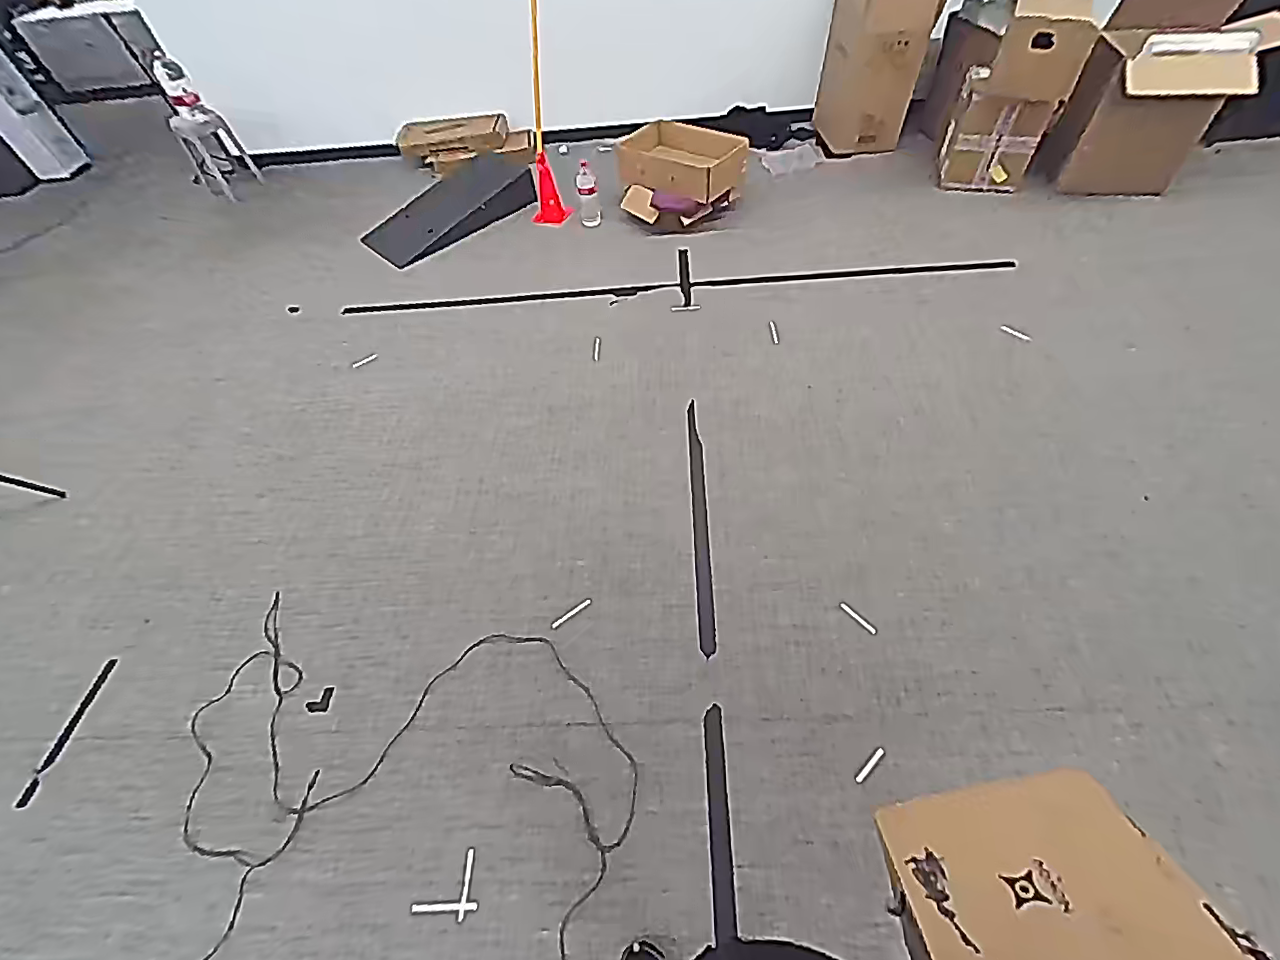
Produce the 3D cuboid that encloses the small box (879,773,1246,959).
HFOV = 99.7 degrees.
[{"bbox_3d":[0.308,0.366,0.411,0.179,0.176,0.168,-16,17,9],"label":"small box"}]
